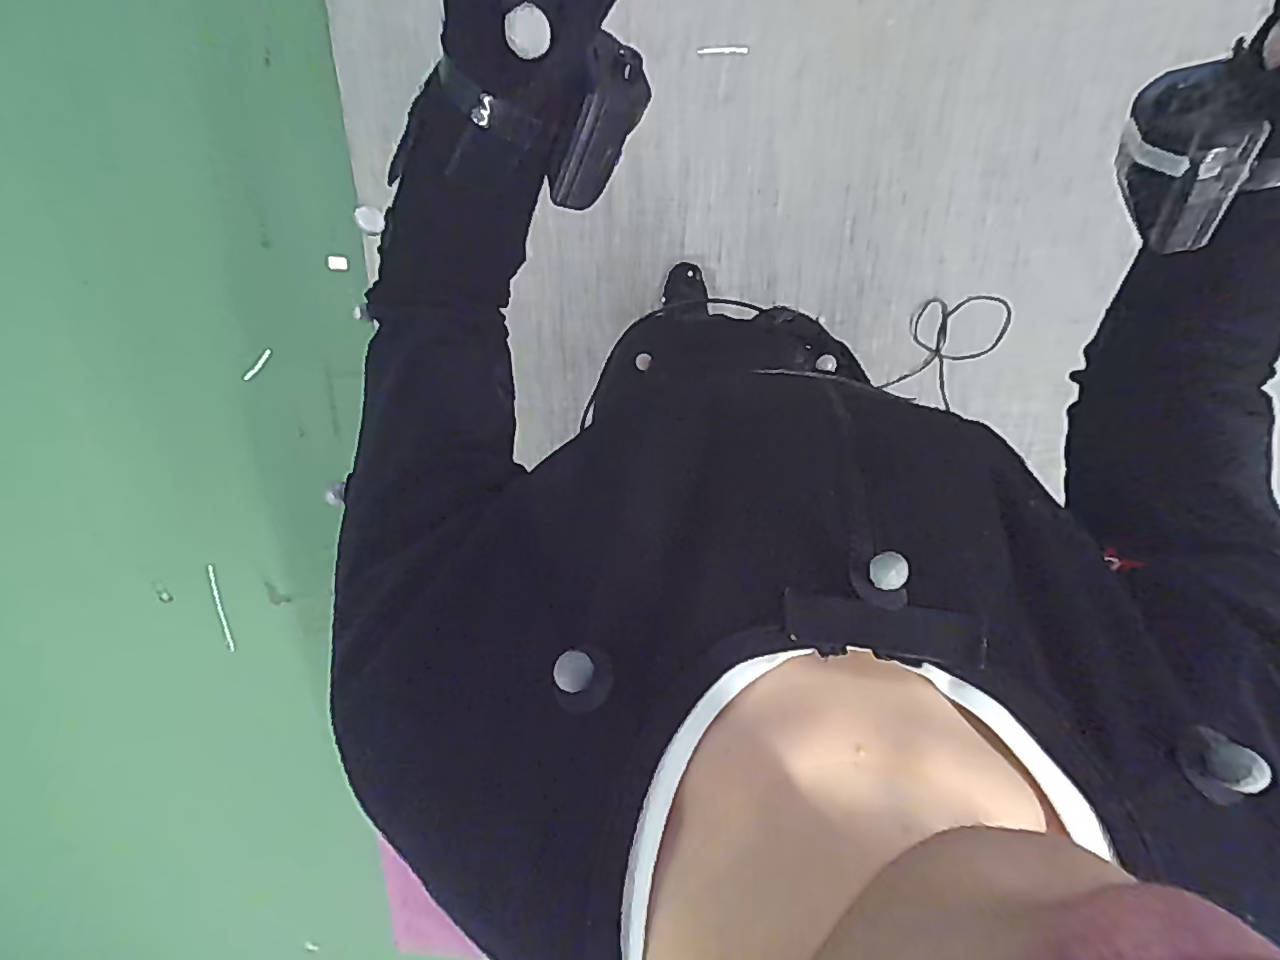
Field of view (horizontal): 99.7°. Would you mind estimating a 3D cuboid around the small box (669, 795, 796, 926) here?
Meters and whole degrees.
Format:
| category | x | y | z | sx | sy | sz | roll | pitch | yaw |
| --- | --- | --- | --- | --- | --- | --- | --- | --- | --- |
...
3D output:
| category | x | y | z | sx | sy | sz | roll | pitch | yaw |
| --- | --- | --- | --- | --- | --- | --- | --- | --- | --- |
| small box | 0.137 | 0.649 | 0.867 | 0.168 | 0.176 | 0.179 | 6 | 109 | 1 |
